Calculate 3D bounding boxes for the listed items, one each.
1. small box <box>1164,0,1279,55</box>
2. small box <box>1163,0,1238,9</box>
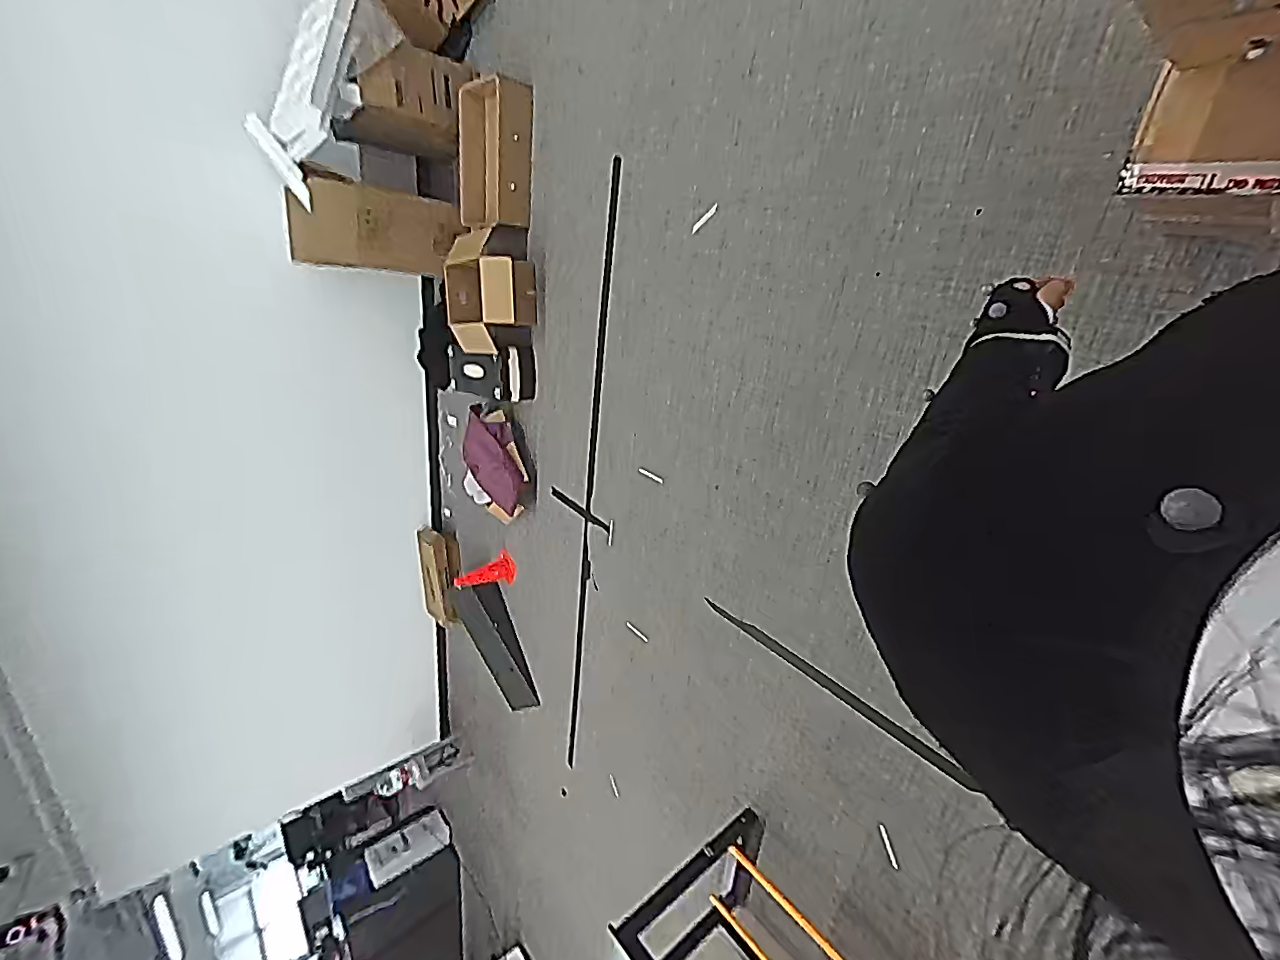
[{"bbox_3d":[0.684,-0.571,0.545,0.168,0.176,0.179,29,123,45],"label":"small box"},{"bbox_3d":[0.560,-0.529,0.446,0.168,0.176,0.179,30,125,44],"label":"small box"}]
